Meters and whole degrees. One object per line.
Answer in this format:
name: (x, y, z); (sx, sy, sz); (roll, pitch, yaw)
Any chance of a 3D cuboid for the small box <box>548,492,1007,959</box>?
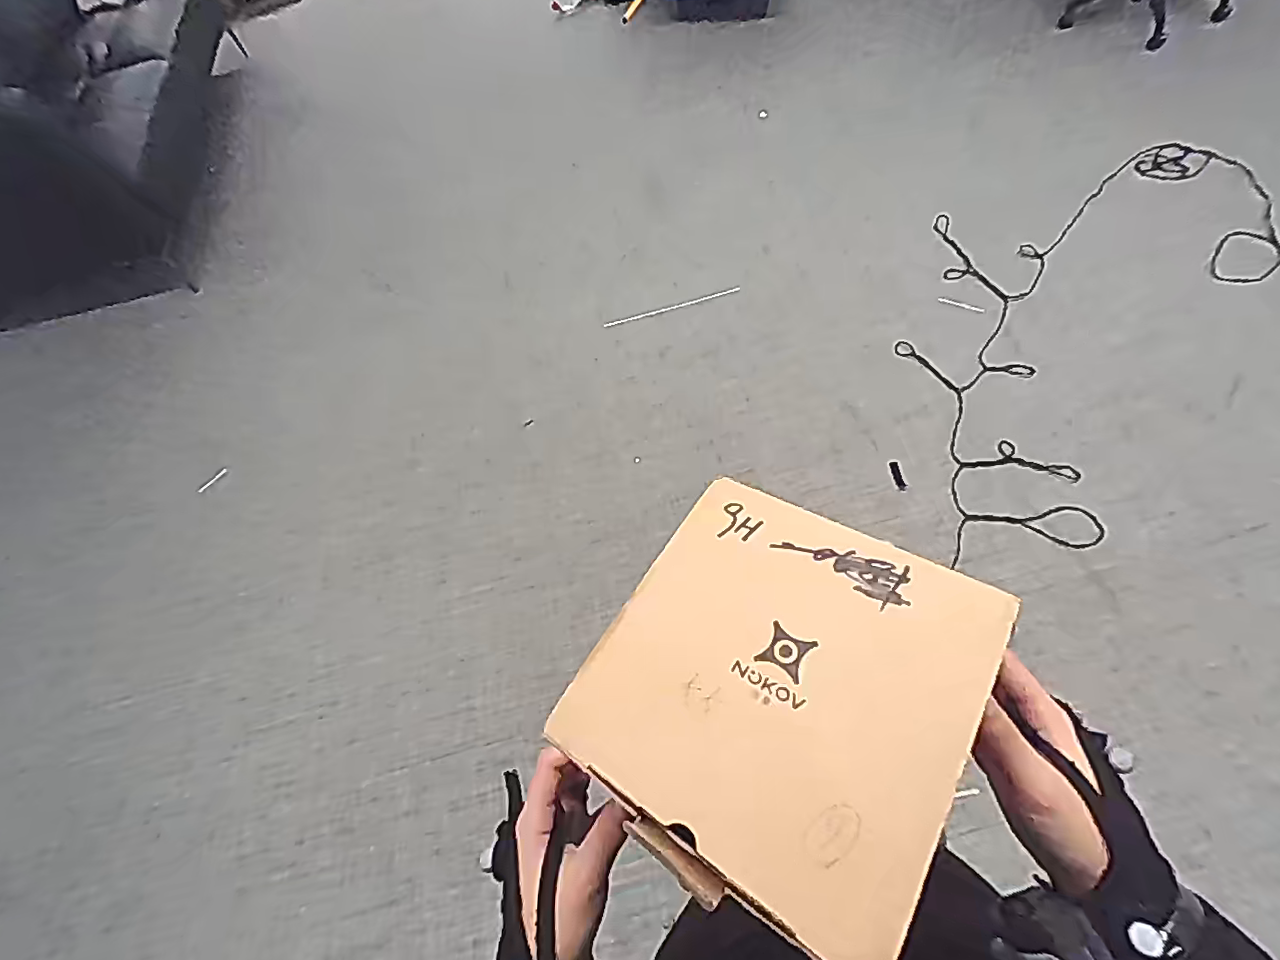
small box: (0.082, 0.145, 0.327); (0.168, 0.176, 0.179); (24, 64, 29)
